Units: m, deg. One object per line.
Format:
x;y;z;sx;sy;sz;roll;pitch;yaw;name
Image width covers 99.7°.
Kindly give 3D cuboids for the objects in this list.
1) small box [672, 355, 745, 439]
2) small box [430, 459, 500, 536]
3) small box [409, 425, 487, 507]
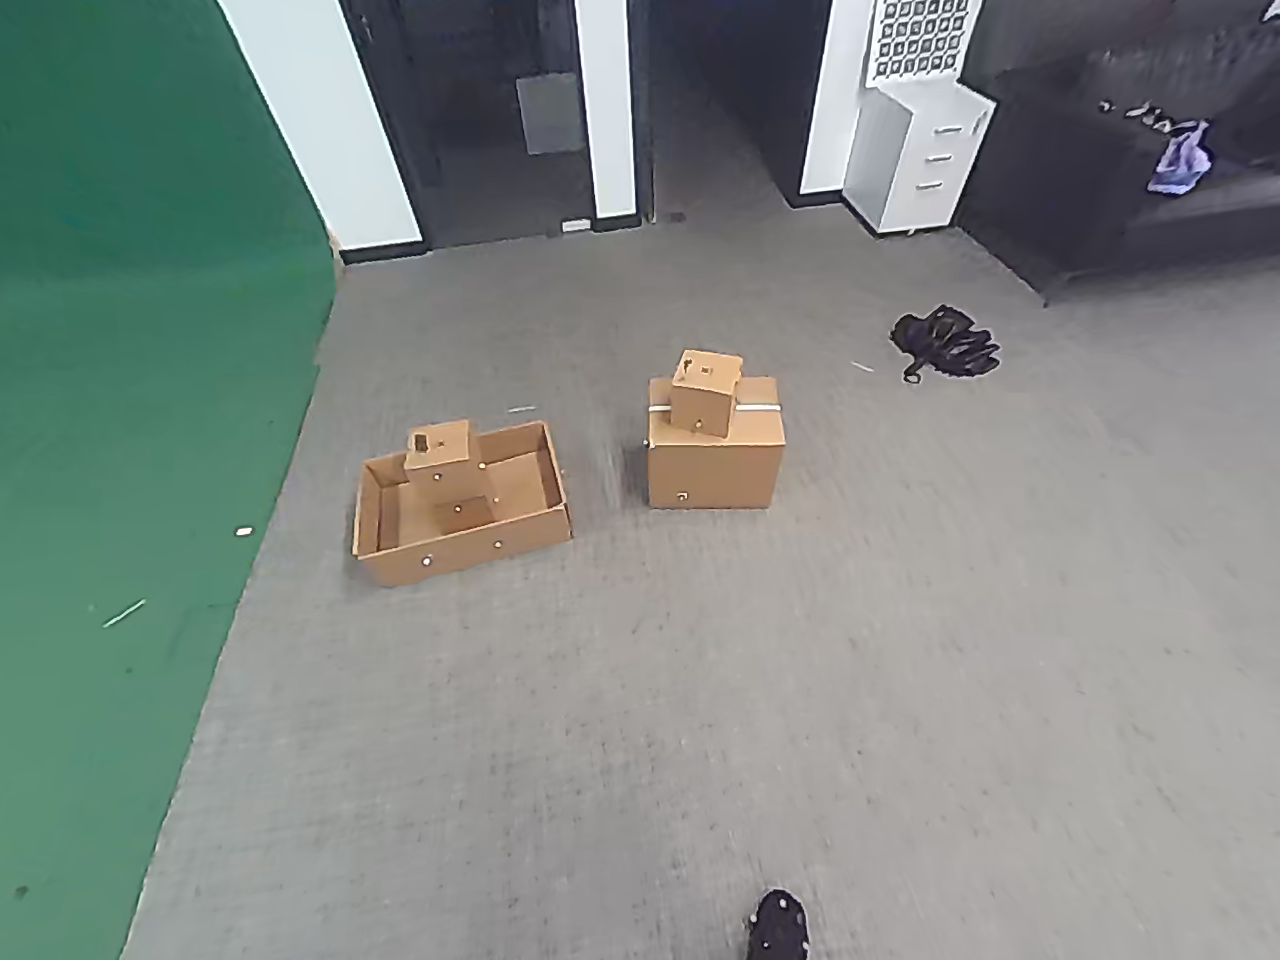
0.199;-0.242;1.600;0.179;0.176;0.168;13;52;12;small box
-0.560;0.061;1.734;0.179;0.176;0.168;-12;51;-9;small box
-0.563;-0.037;1.601;0.179;0.176;0.168;-10;50;-7;small box
